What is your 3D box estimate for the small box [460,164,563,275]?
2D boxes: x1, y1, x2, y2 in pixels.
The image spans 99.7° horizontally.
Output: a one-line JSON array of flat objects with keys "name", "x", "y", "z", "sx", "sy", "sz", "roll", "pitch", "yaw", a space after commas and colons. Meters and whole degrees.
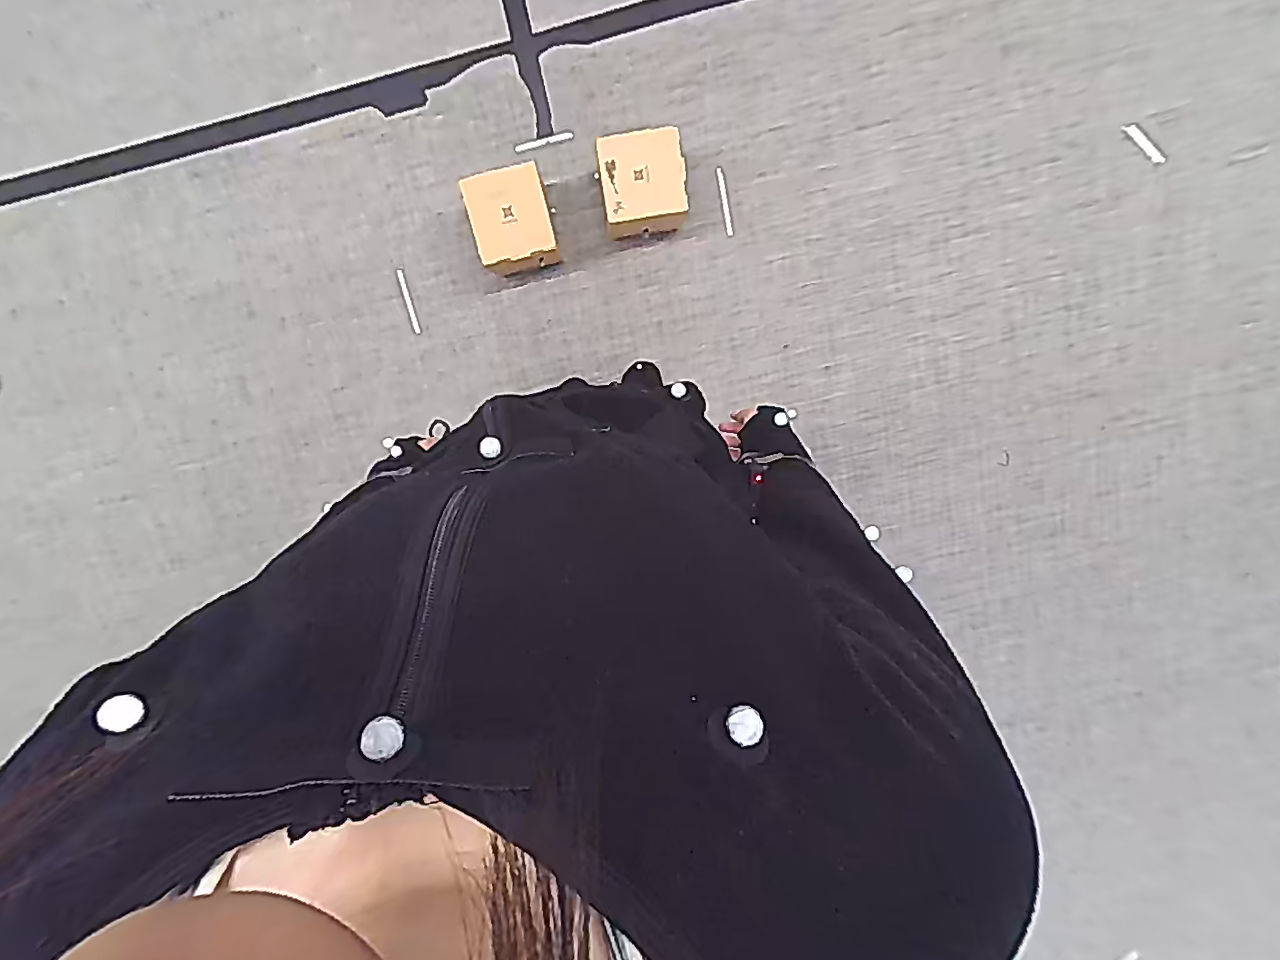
[{"name": "small box", "x": -0.276, "y": -0.568, "z": 1.208, "sx": 0.168, "sy": 0.176, "sz": 0.179, "roll": -14, "pitch": 103, "yaw": 0}]

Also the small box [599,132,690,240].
[{"name": "small box", "x": 0.005, "y": -0.645, "z": 1.202, "sx": 0.179, "sy": 0.176, "sz": 0.168, "roll": -9, "pitch": 104, "yaw": -1}]
